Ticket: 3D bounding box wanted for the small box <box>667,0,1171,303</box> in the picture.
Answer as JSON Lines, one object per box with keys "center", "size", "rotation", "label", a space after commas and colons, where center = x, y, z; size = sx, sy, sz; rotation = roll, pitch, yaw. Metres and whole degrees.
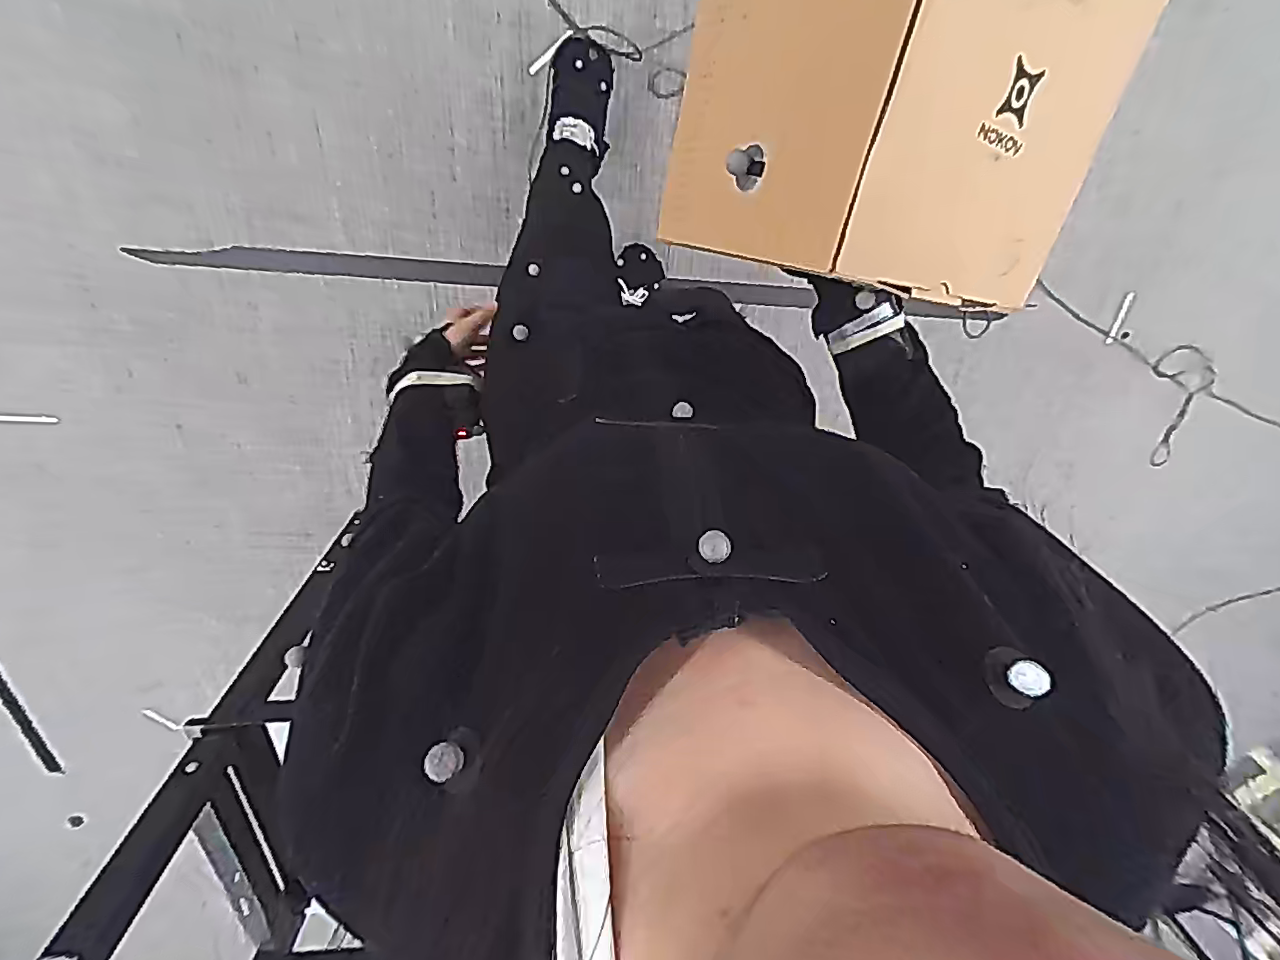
{"center": [0.133, -0.212, 0.304], "size": [0.168, 0.176, 0.179], "rotation": [-4, 117, -30], "label": "small box"}
